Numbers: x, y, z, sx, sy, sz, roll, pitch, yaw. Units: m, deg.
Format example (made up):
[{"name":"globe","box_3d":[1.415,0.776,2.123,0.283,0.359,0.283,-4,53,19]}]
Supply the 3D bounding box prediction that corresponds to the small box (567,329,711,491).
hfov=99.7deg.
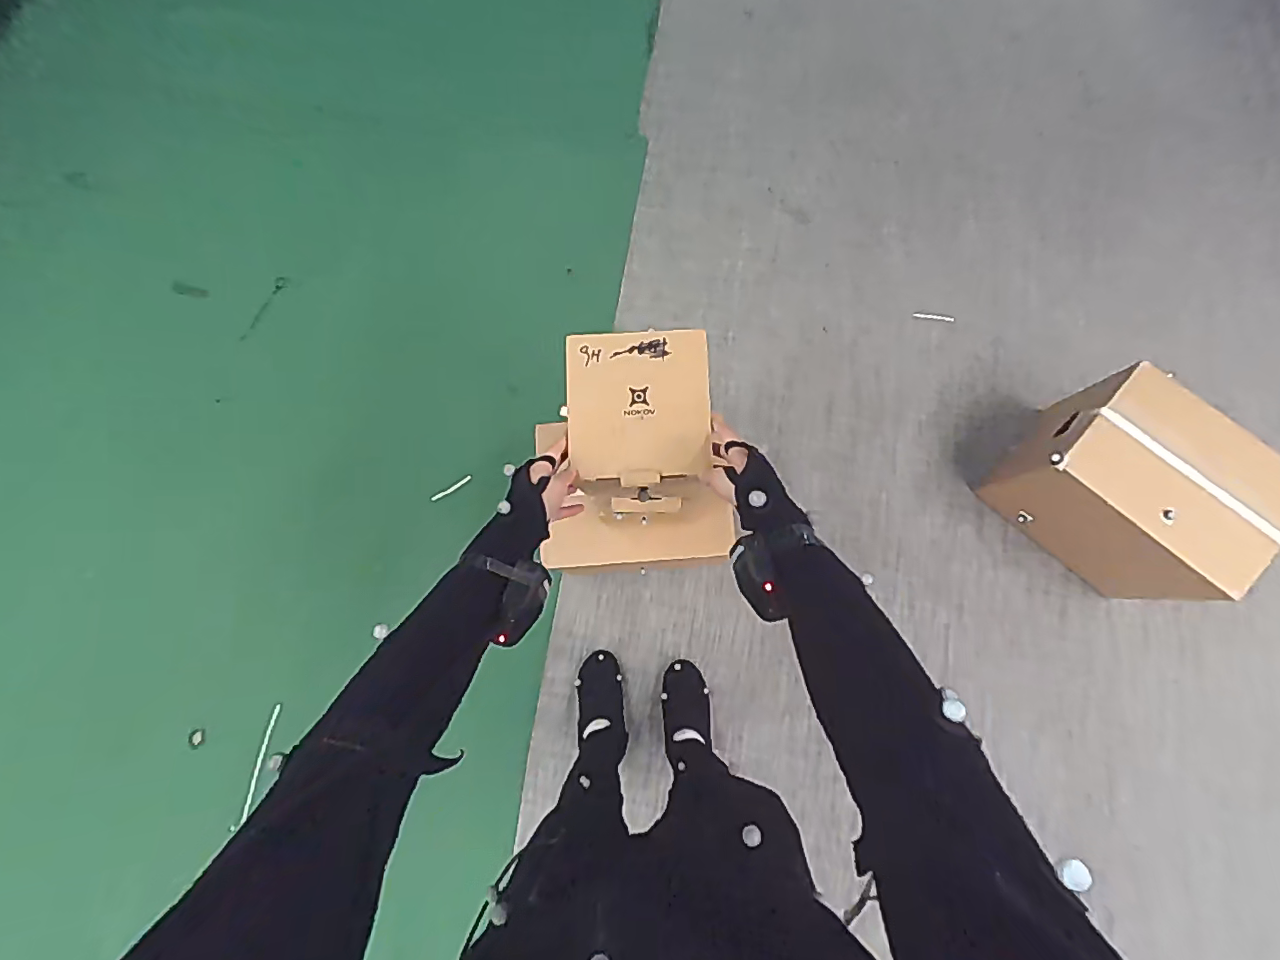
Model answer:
[{"name":"small box","box_3d":[0.002,-0.077,0.697,0.168,0.176,0.179,-2,83,2]}]

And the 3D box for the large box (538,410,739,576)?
[{"name":"large box","box_3d":[0.001,0.051,1.271,0.408,0.320,0.320,-6,76,3]}]

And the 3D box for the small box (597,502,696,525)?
[{"name":"small box","box_3d":[0.015,-0.004,1.031,0.179,0.176,0.168,-2,79,2]}]

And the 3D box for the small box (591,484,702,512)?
[{"name":"small box","box_3d":[0.016,-0.043,0.871,0.168,0.176,0.179,0,79,3]}]
